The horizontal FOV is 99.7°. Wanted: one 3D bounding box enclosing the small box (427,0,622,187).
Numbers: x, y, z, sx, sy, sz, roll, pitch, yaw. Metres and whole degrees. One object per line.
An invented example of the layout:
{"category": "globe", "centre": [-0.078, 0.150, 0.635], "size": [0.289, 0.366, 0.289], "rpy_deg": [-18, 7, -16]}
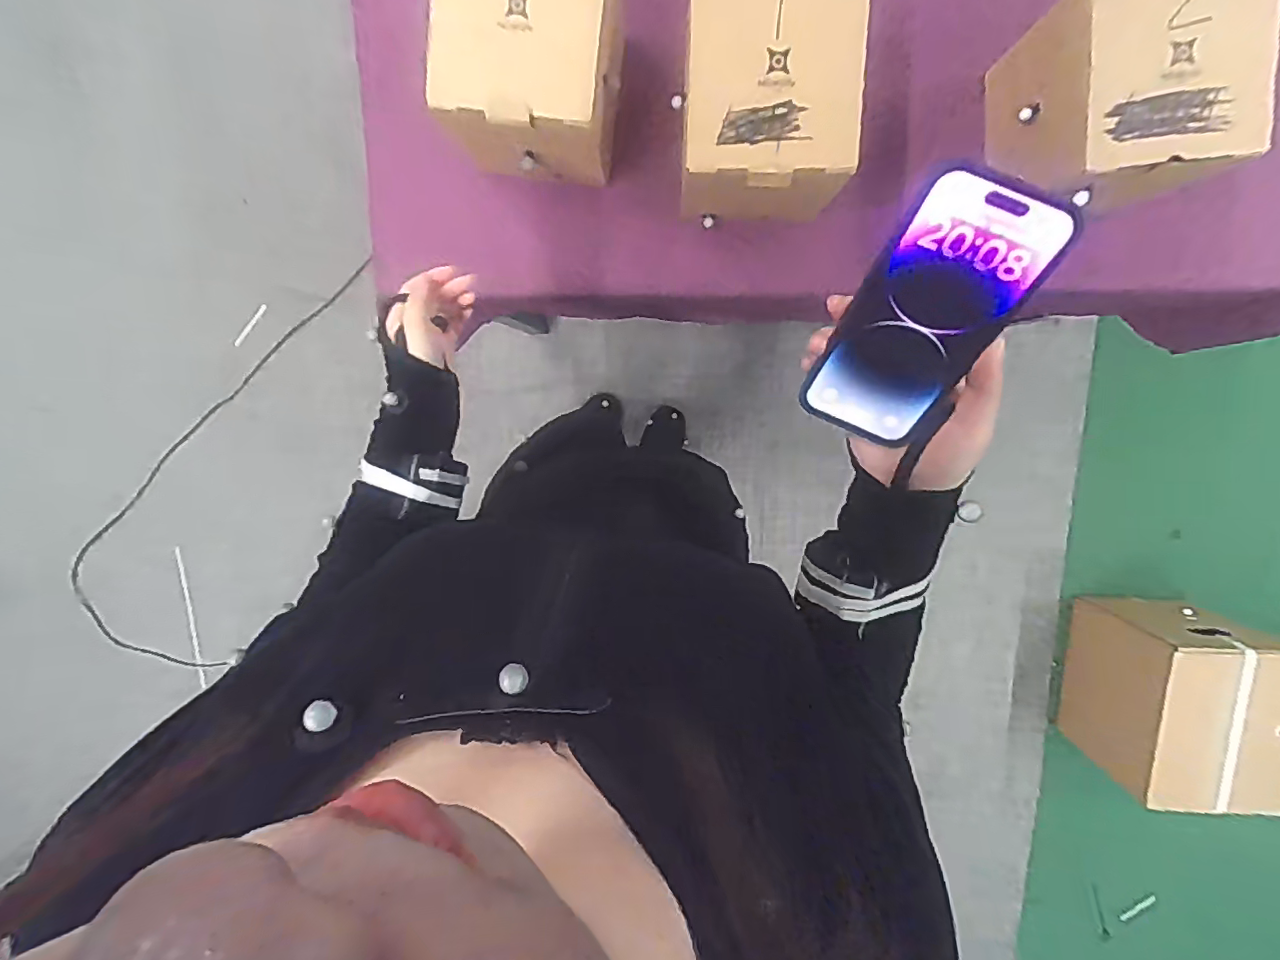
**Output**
{"category": "small box", "centre": [-0.114, -0.445, 0.592], "size": [0.168, 0.176, 0.179], "rpy_deg": [8, 100, 1]}

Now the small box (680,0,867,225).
{"category": "small box", "centre": [0.130, -0.391, 0.590], "size": [0.168, 0.176, 0.179], "rpy_deg": [1, 99, 2]}
